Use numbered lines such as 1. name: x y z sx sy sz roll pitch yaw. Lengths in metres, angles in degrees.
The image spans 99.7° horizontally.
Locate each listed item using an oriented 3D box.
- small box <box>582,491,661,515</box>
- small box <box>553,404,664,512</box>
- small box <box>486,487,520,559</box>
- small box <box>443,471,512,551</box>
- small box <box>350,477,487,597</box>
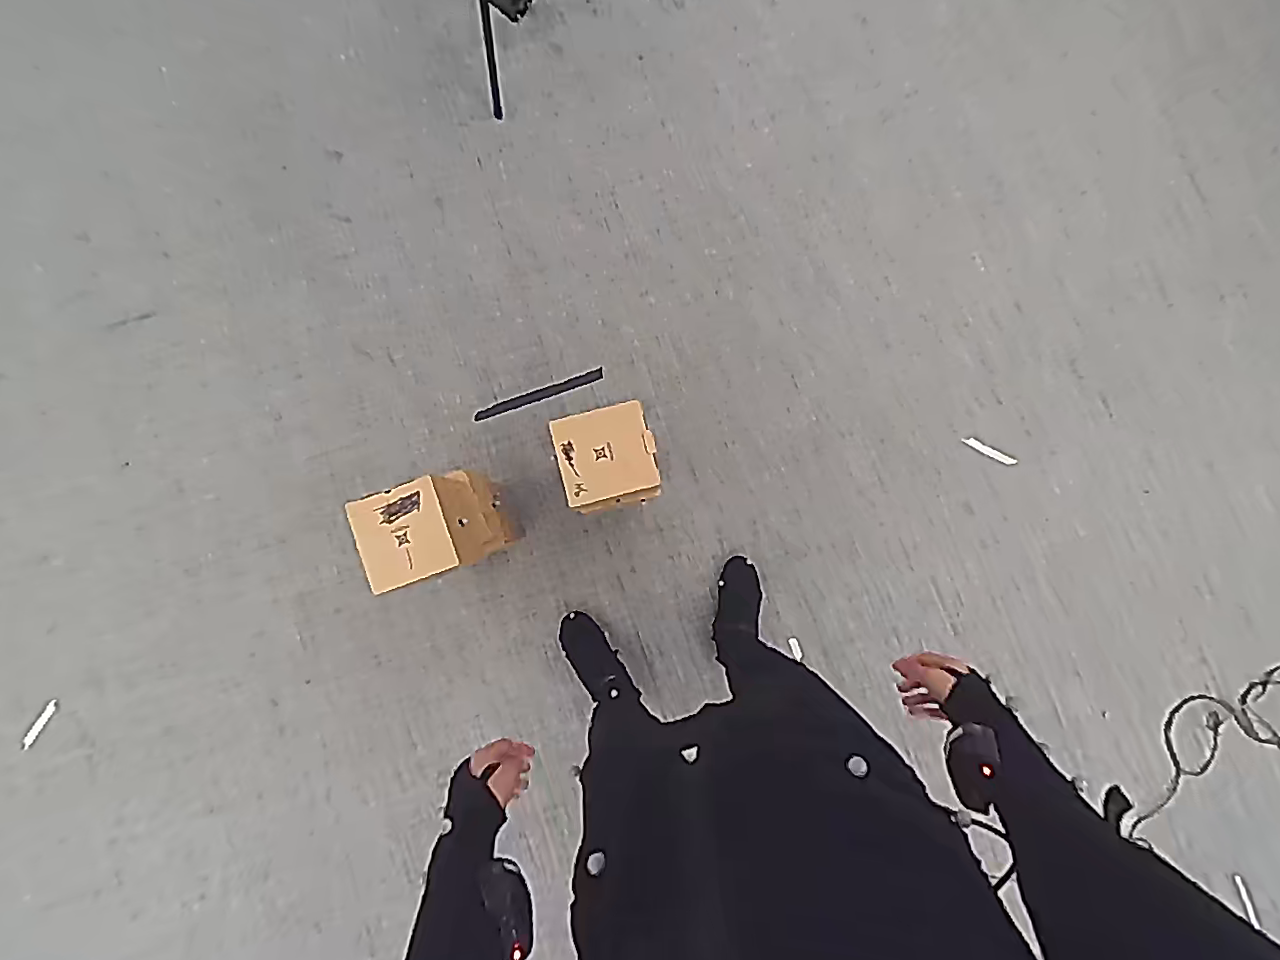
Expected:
1. small box: -0.056 -0.018 1.224 0.179 0.176 0.168 -14 85 -2
2. small box: -0.061 -0.036 1.061 0.179 0.176 0.168 -14 85 -3
3. small box: -0.424 0.116 1.372 0.168 0.176 0.179 -23 86 -2
4. small box: -0.411 0.095 1.210 0.179 0.176 0.168 -24 86 -2
5. small box: -0.417 0.108 1.044 0.168 0.176 0.179 -20 86 -1
